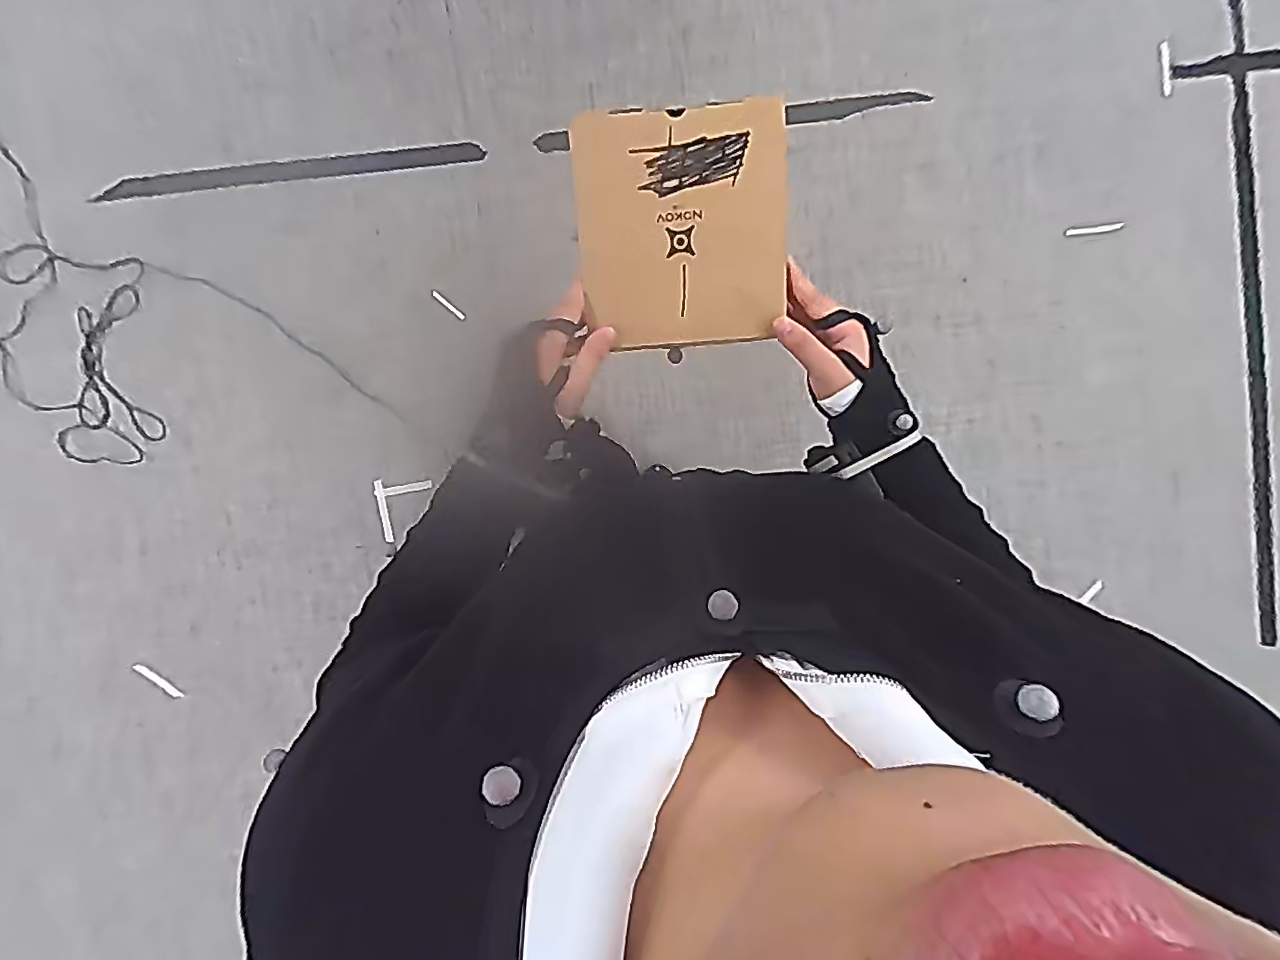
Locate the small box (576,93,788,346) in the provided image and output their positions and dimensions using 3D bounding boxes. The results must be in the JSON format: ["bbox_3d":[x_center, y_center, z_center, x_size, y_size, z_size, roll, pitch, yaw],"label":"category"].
[{"bbox_3d":[0.036,-0.222,0.507,0.168,0.176,0.179,-3,103,3],"label":"small box"}]
